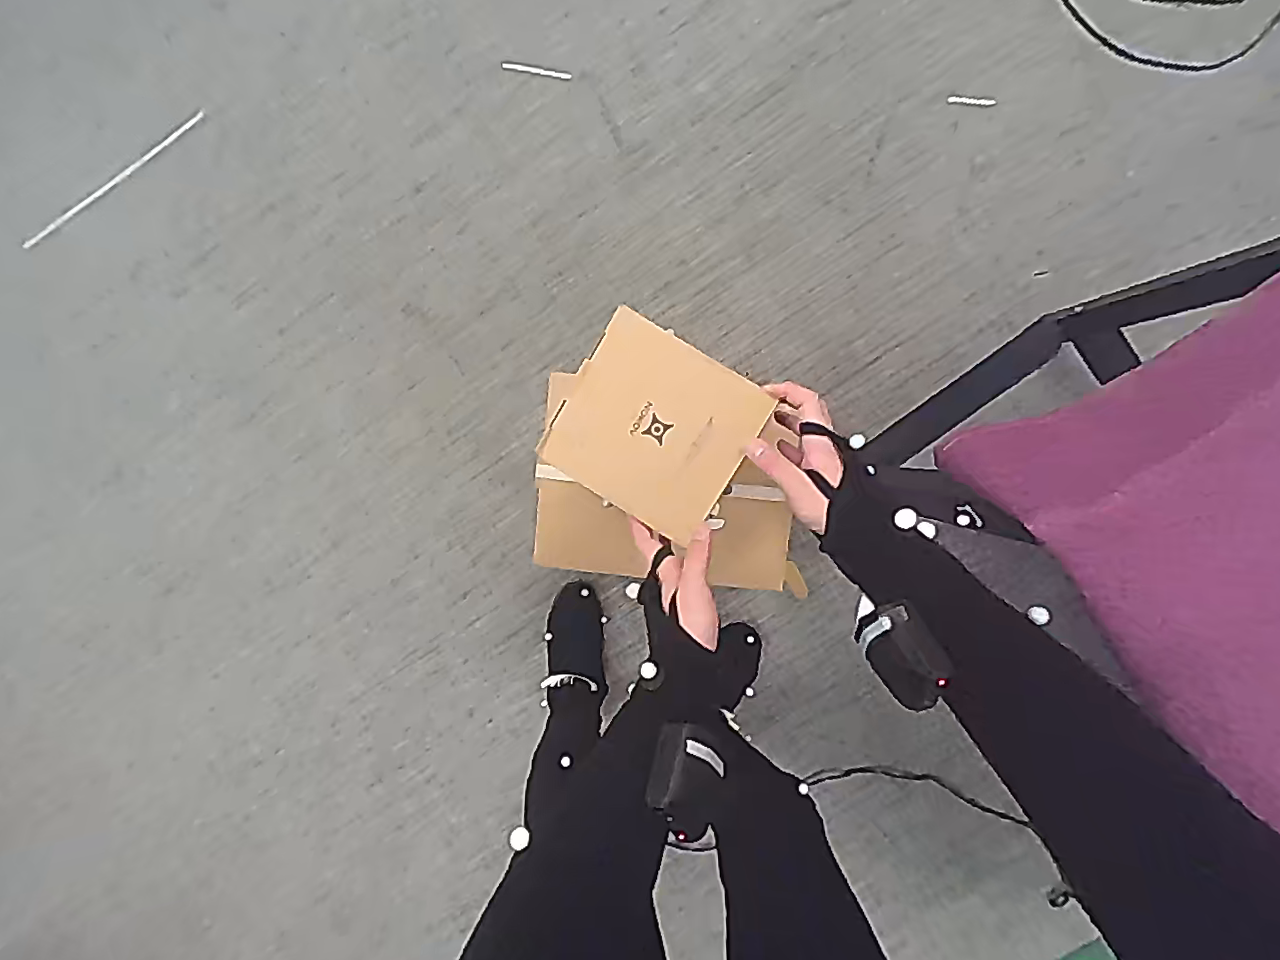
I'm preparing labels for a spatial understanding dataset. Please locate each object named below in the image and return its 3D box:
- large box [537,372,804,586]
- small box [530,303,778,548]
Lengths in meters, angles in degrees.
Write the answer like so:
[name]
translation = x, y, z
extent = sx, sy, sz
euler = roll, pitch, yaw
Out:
[large box]
translation = 0.044, -0.007, 0.994
extent = 0.408, 0.320, 0.320
euler = 5, 94, 0
[small box]
translation = 0.019, -0.053, 0.572
extent = 0.179, 0.176, 0.168
euler = 33, 97, 4
